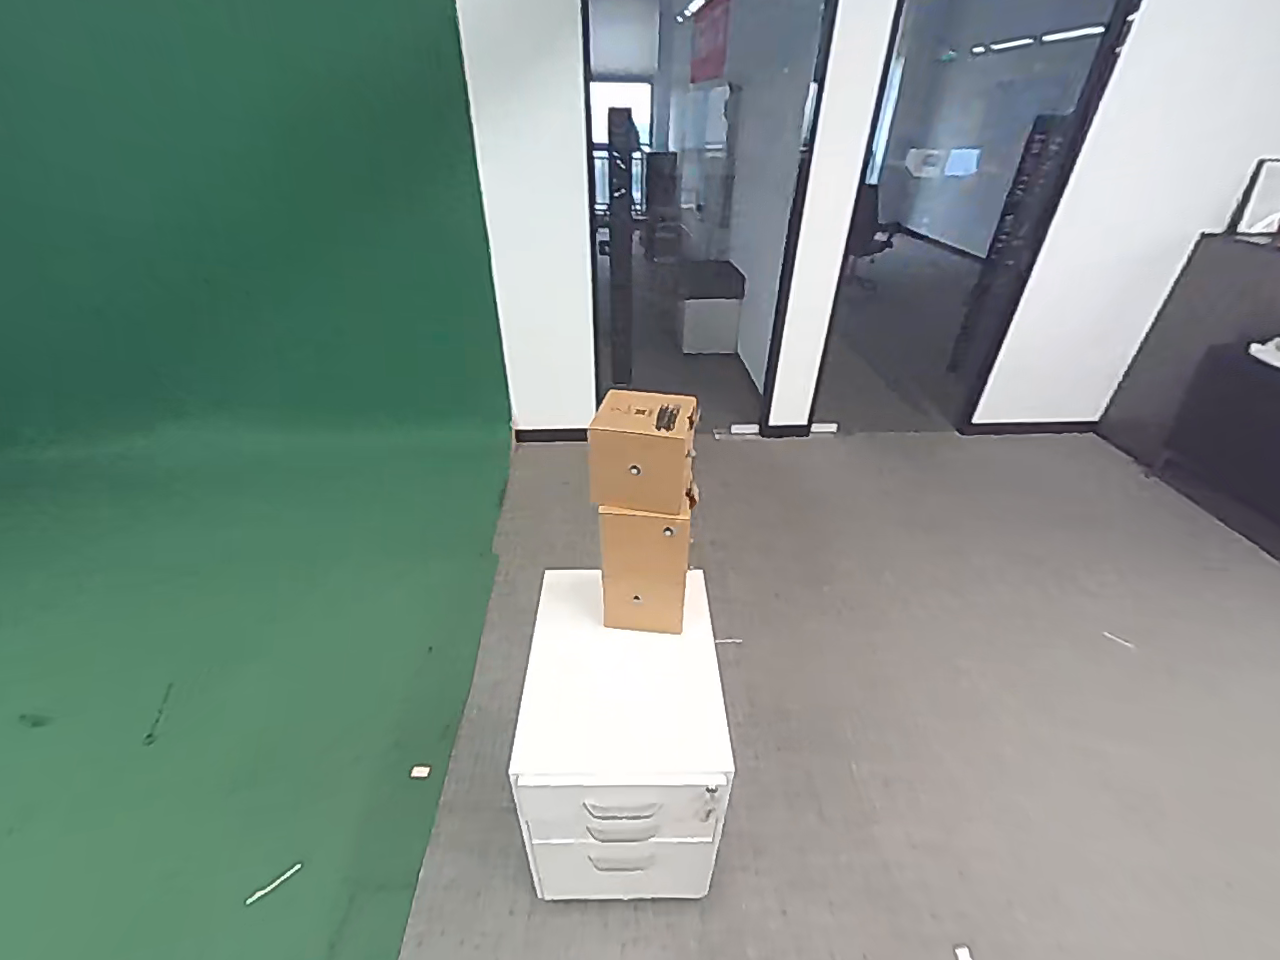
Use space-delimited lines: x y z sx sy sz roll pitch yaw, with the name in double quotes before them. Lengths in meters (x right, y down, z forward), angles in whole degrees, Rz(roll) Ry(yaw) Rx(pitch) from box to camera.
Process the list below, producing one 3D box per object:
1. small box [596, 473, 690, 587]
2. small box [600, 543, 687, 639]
"small box" 0.010 0.103 1.121 0.179 0.176 0.168 4 34 4
"small box" 0.011 0.237 1.214 0.179 0.176 0.168 4 34 5
